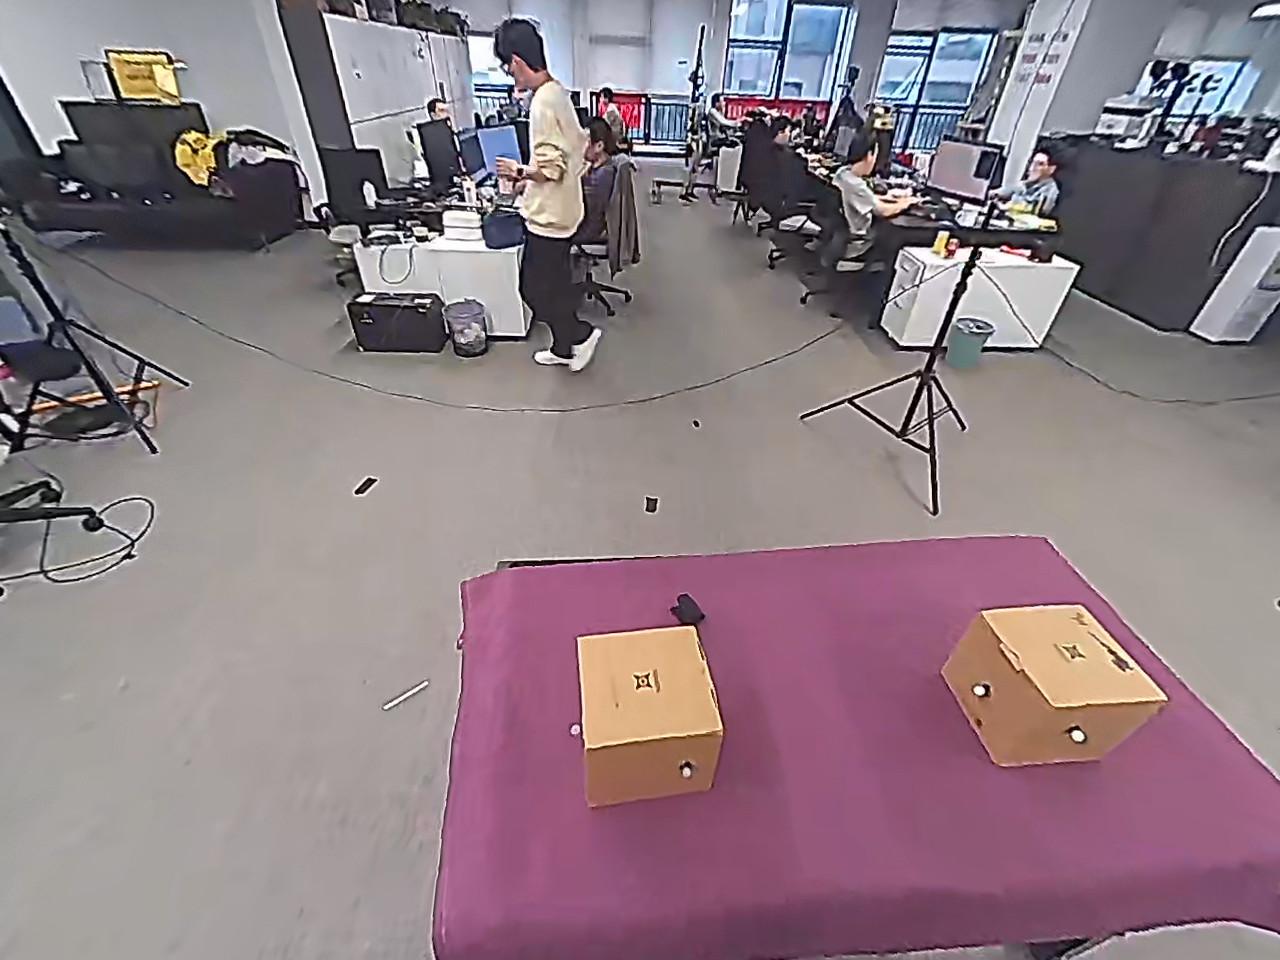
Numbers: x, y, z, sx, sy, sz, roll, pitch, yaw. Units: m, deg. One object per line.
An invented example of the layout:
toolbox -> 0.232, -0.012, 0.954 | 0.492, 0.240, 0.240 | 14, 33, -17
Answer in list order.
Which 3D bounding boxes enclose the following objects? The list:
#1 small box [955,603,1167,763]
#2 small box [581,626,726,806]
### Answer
small box -> 0.617, 0.312, 0.828 | 0.179, 0.176, 0.168 | -3, 37, -4
small box -> 0.009, 0.334, 0.772 | 0.179, 0.176, 0.168 | -5, 36, -8
